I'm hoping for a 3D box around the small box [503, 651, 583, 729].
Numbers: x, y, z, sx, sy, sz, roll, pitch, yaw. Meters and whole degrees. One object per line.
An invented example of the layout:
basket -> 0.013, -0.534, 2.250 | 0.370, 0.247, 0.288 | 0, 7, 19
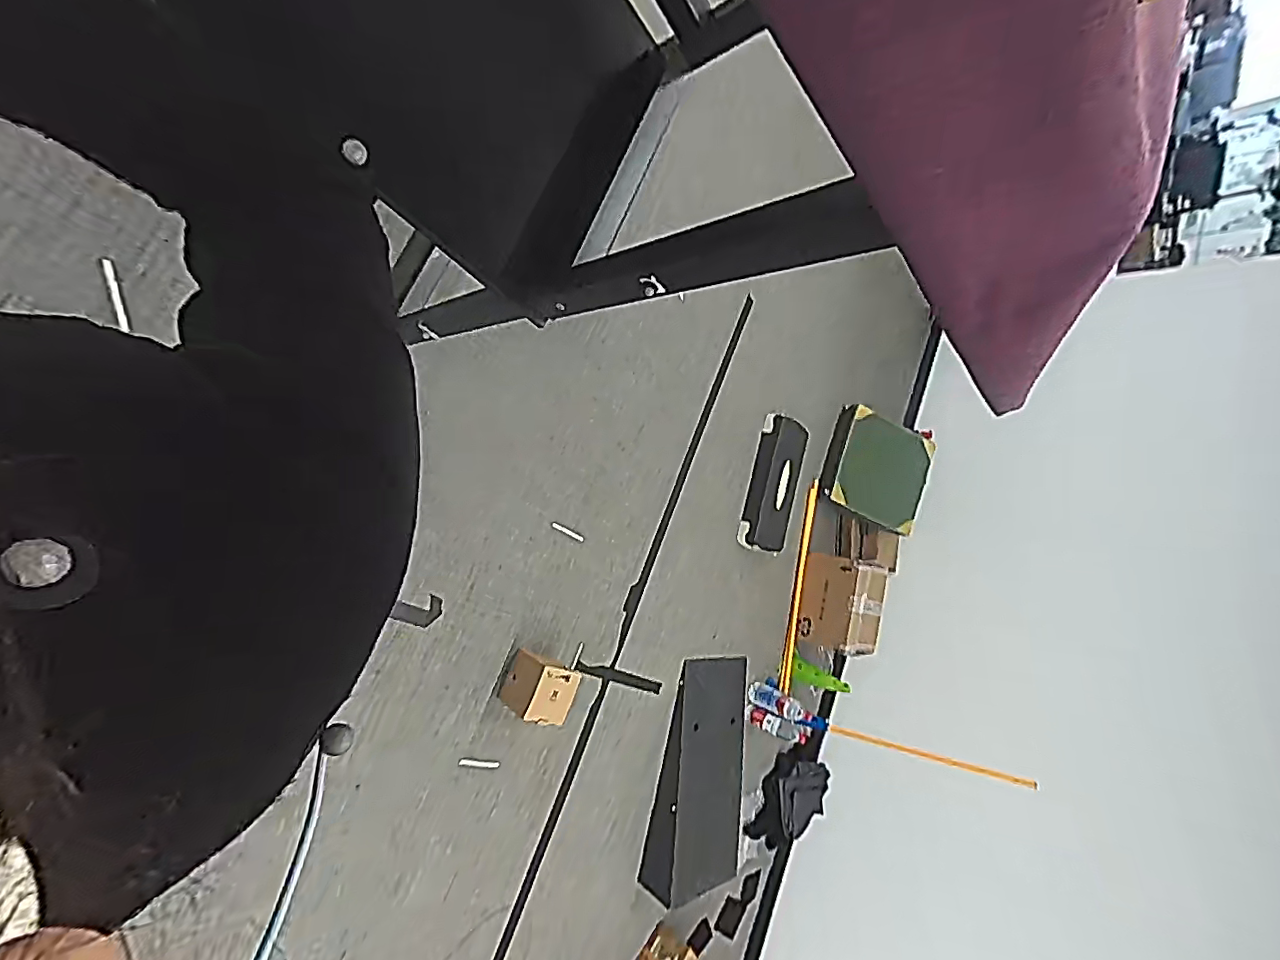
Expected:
small box -> -0.326, 0.688, 1.779 | 0.168, 0.176, 0.179 | 34, 74, -41
